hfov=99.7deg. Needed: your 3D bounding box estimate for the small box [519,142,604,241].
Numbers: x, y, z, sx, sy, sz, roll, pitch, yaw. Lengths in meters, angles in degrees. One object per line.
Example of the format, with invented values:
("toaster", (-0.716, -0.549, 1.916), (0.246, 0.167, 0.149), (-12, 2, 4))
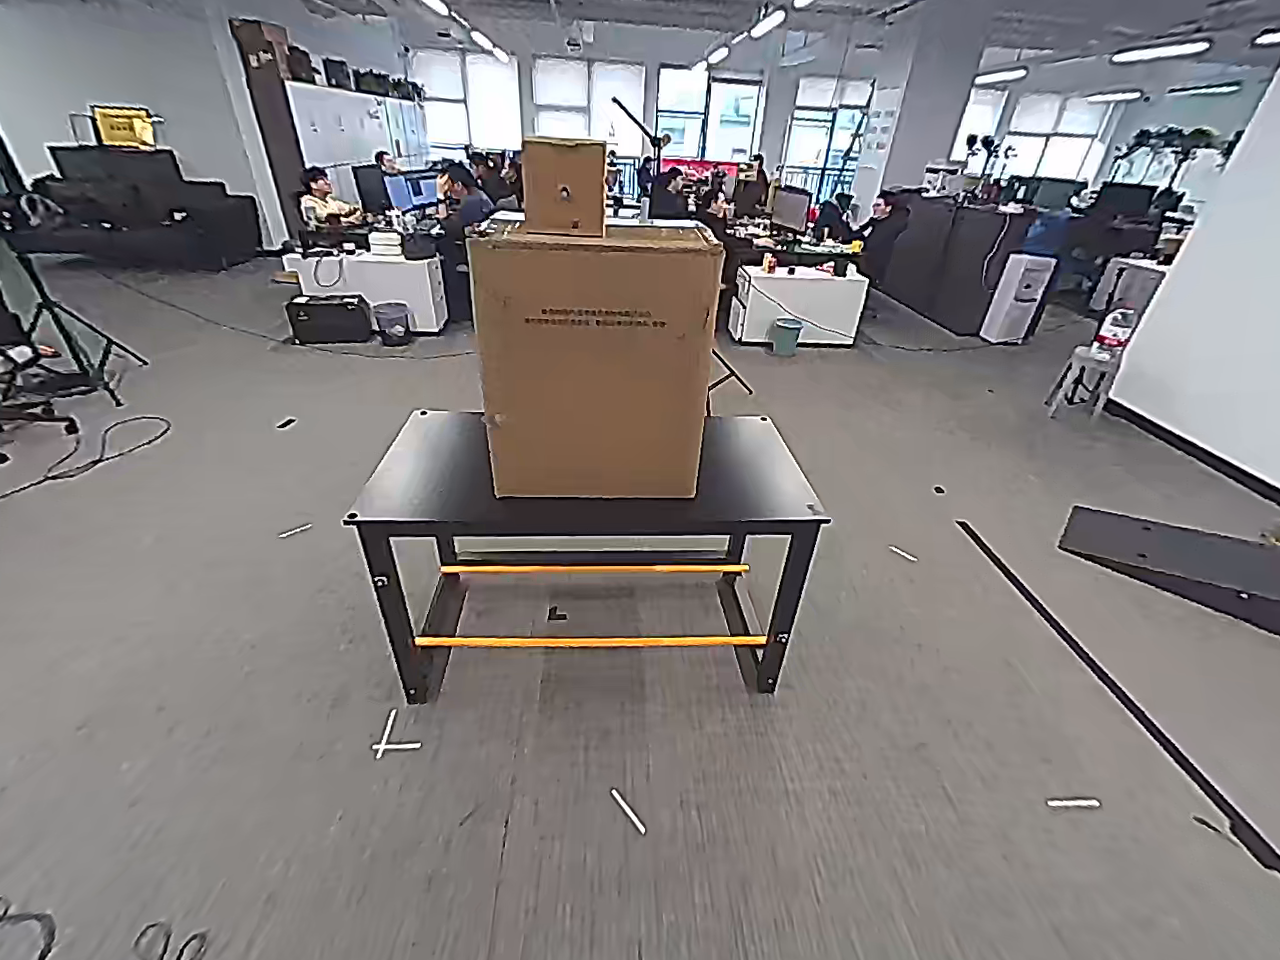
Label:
("small box", (-0.161, -0.621, 1.164), (0.168, 0.176, 0.179), (1, 35, -4))
